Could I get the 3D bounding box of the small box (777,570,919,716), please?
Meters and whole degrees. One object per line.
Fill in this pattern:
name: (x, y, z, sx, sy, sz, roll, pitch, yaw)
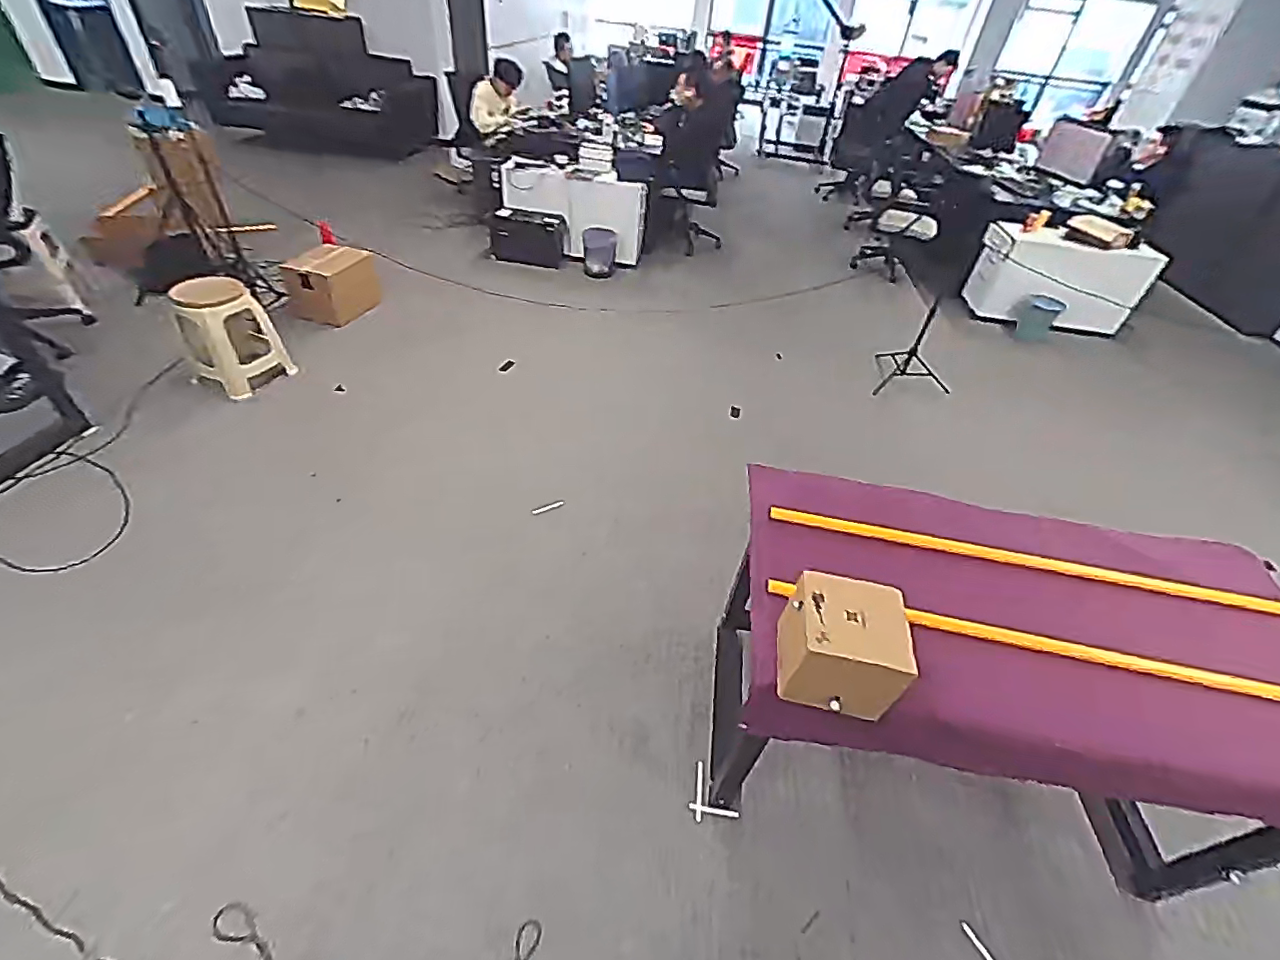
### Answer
small box: (0.353, 0.290, 0.950, 0.179, 0.176, 0.168, 12, 42, 4)
